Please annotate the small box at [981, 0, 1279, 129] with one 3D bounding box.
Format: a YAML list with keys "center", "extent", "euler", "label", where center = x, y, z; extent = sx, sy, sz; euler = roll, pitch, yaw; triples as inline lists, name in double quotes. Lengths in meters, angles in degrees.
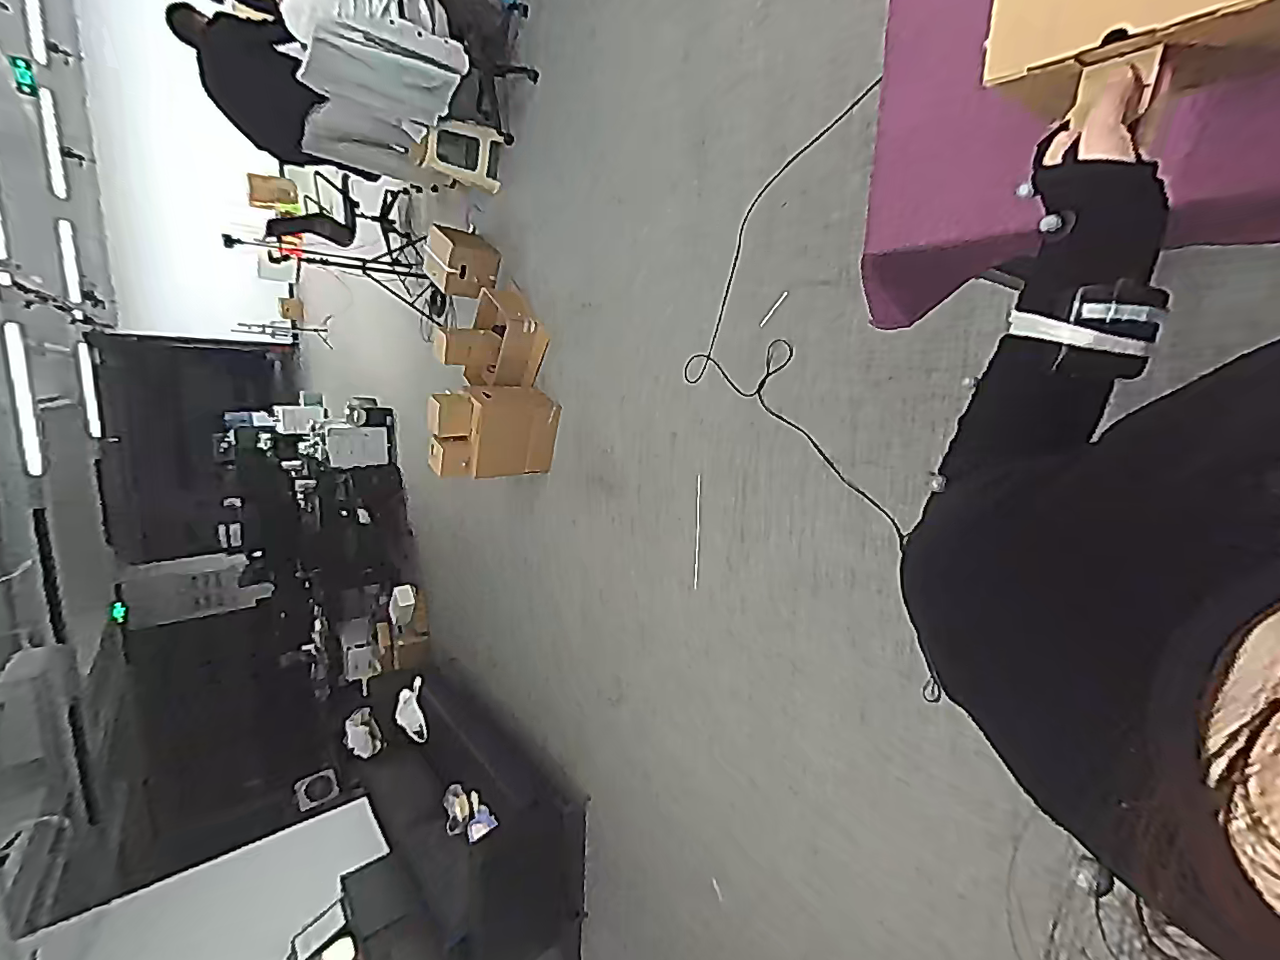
- center: [0.396, -0.403, 0.416]
  extent: [0.168, 0.176, 0.179]
  euler: [18, 116, 48]
  label: "small box"
